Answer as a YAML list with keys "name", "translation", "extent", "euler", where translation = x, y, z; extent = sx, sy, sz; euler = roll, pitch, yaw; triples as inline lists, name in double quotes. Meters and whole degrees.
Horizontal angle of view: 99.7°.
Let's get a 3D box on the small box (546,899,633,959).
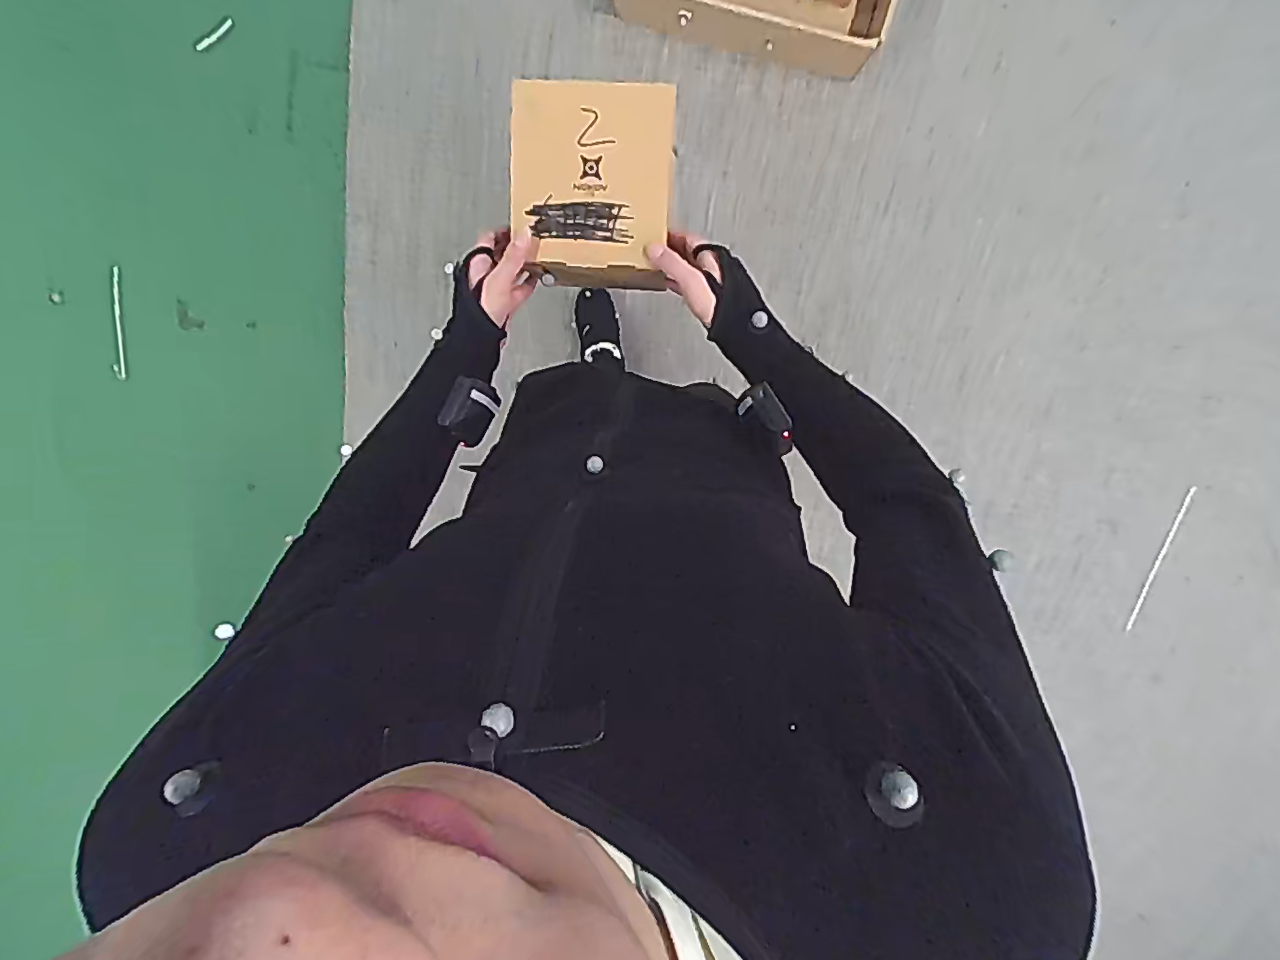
- name: "small box"
  translation: [-0.105, 0.985, 1.071]
  extent: [0.168, 0.176, 0.179]
  euler: [7, 105, 0]
